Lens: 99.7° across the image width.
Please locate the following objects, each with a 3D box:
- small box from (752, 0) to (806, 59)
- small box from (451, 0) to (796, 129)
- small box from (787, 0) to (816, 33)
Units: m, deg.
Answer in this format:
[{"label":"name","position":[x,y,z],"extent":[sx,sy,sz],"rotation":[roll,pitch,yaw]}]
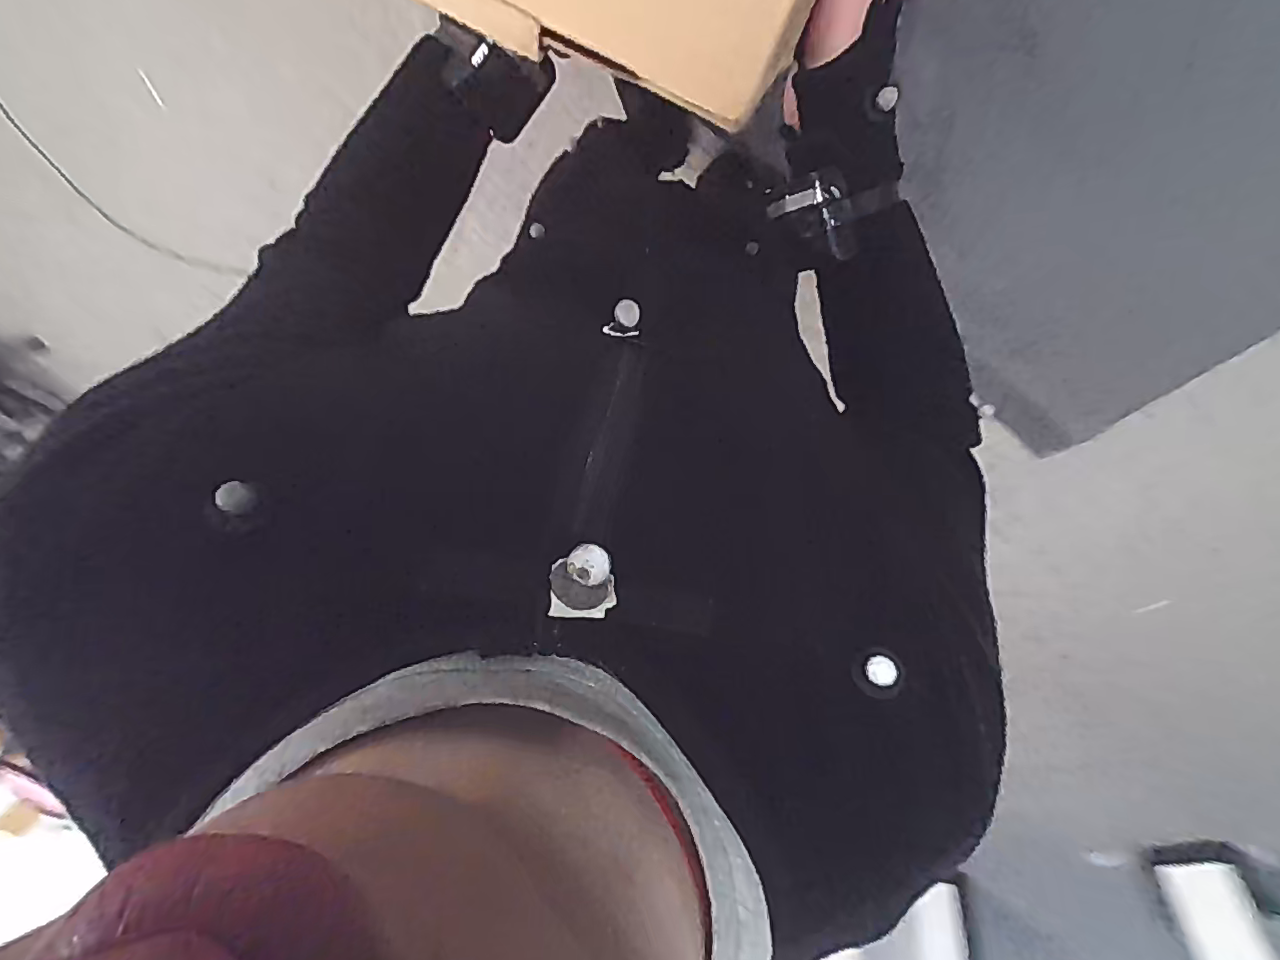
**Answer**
[{"label":"small box","position":[0.036,-0.342,0.257],"extent":[0.168,0.176,0.179],"rotation":[24,133,-3]},{"label":"small box","position":[-0.003,-0.235,0.138],"extent":[0.168,0.176,0.179],"rotation":[25,135,-4]},{"label":"small box","position":[0.080,-0.449,0.370],"extent":[0.168,0.176,0.179],"rotation":[23,135,0]}]
